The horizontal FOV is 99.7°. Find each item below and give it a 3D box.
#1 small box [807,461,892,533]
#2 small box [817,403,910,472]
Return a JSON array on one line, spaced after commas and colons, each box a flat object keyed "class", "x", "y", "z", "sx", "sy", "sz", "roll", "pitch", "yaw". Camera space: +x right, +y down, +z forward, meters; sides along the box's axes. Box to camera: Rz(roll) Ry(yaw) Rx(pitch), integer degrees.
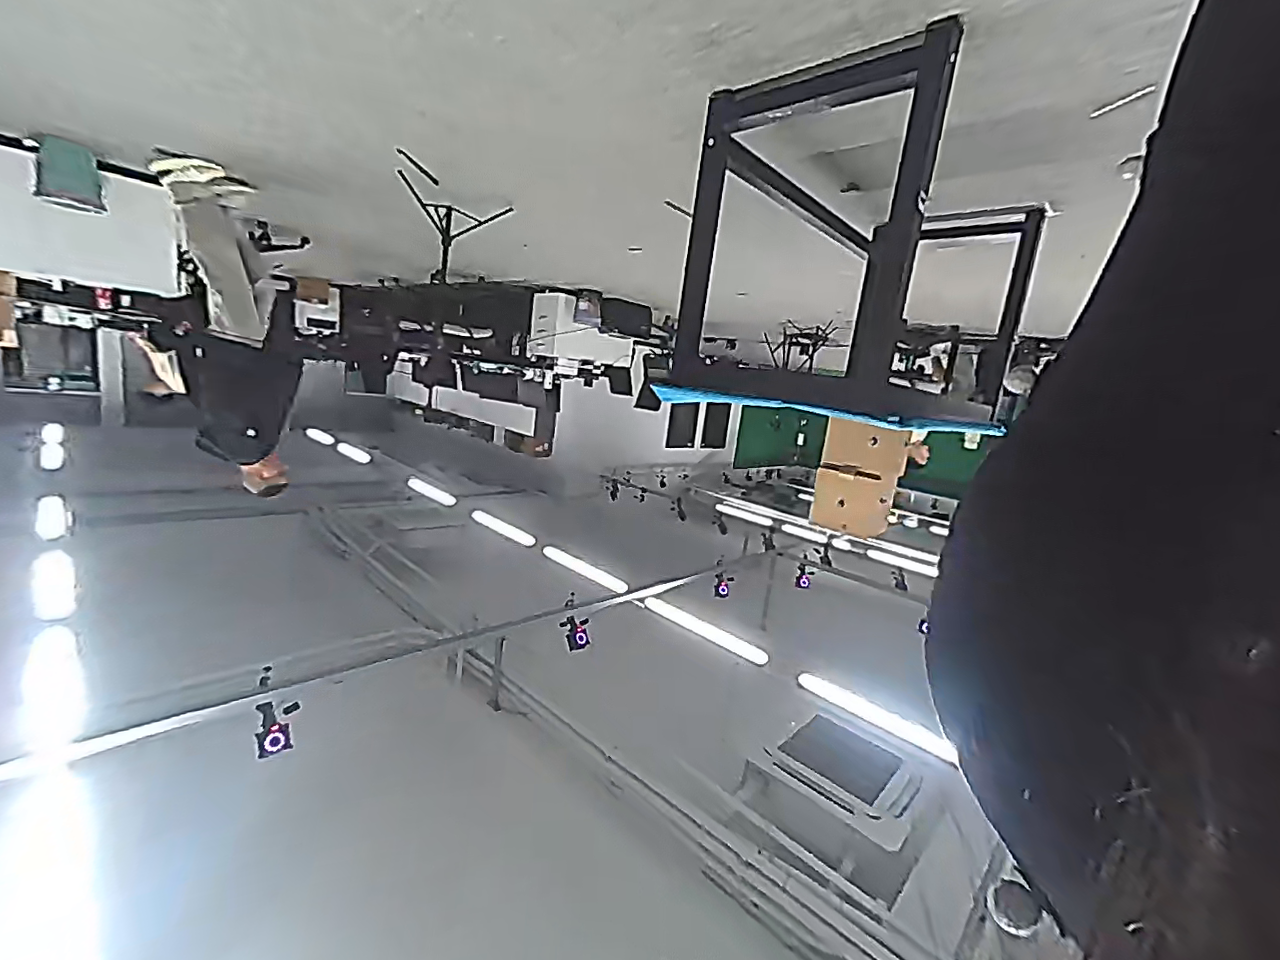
[{"class": "small box", "x": 0.587, "y": 0.041, "z": 1.527, "sx": 0.168, "sy": 0.176, "sz": 0.179, "roll": 18, "pitch": -162, "yaw": 38}, {"class": "small box", "x": 0.617, "y": -0.117, "z": 1.496, "sx": 0.179, "sy": 0.176, "sz": 0.168, "roll": 17, "pitch": -166, "yaw": 41}]
